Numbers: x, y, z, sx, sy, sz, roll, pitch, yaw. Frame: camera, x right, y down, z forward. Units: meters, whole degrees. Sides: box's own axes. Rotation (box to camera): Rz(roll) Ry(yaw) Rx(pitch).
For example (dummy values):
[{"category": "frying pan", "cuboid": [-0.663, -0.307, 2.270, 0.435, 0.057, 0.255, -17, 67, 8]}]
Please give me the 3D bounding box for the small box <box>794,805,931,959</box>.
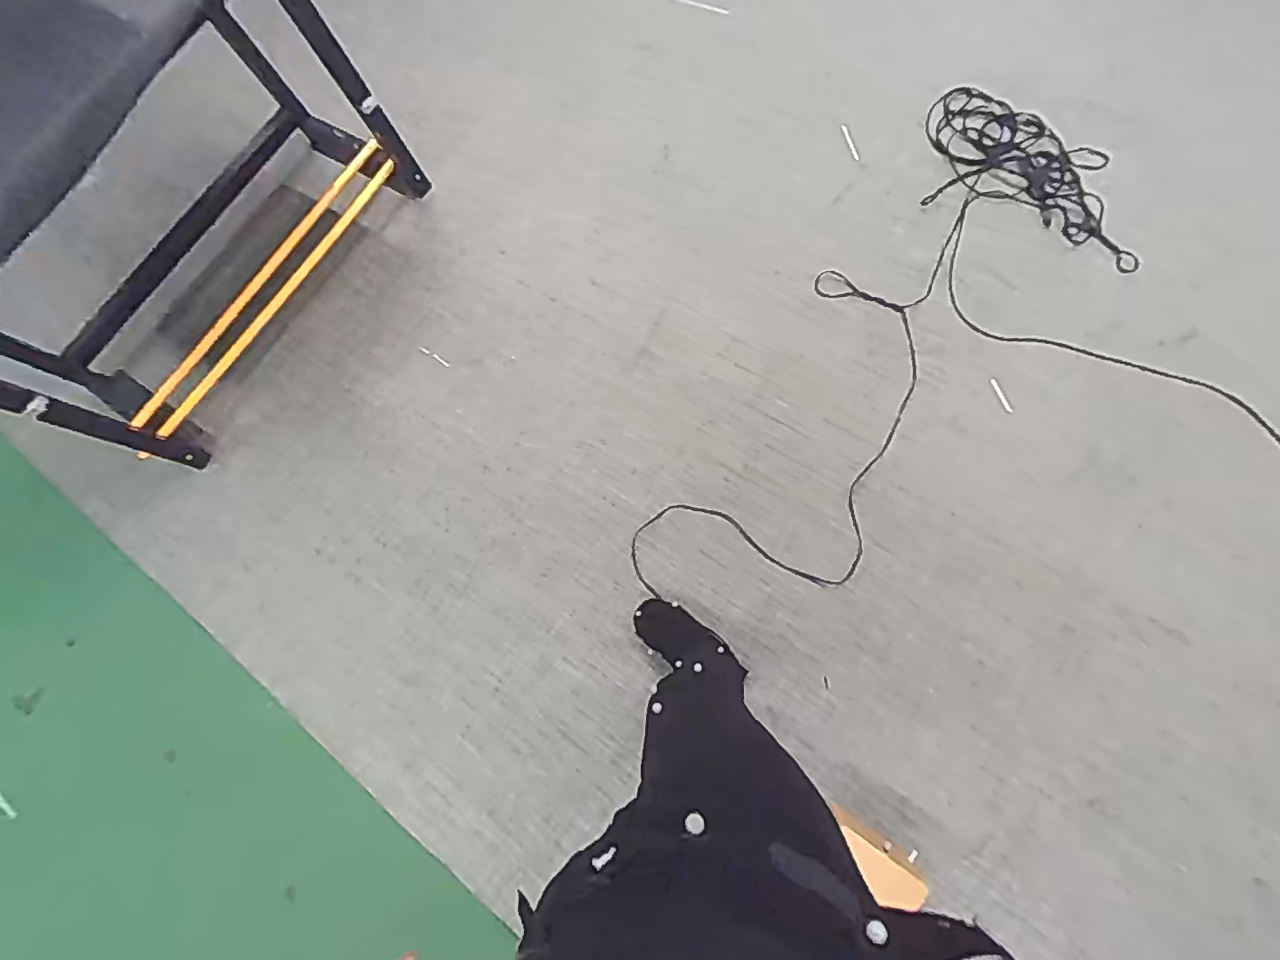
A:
[{"category": "small box", "cuboid": [0.421, 0.773, 1.058, 0.179, 0.176, 0.168, 31, 81, 16]}]
